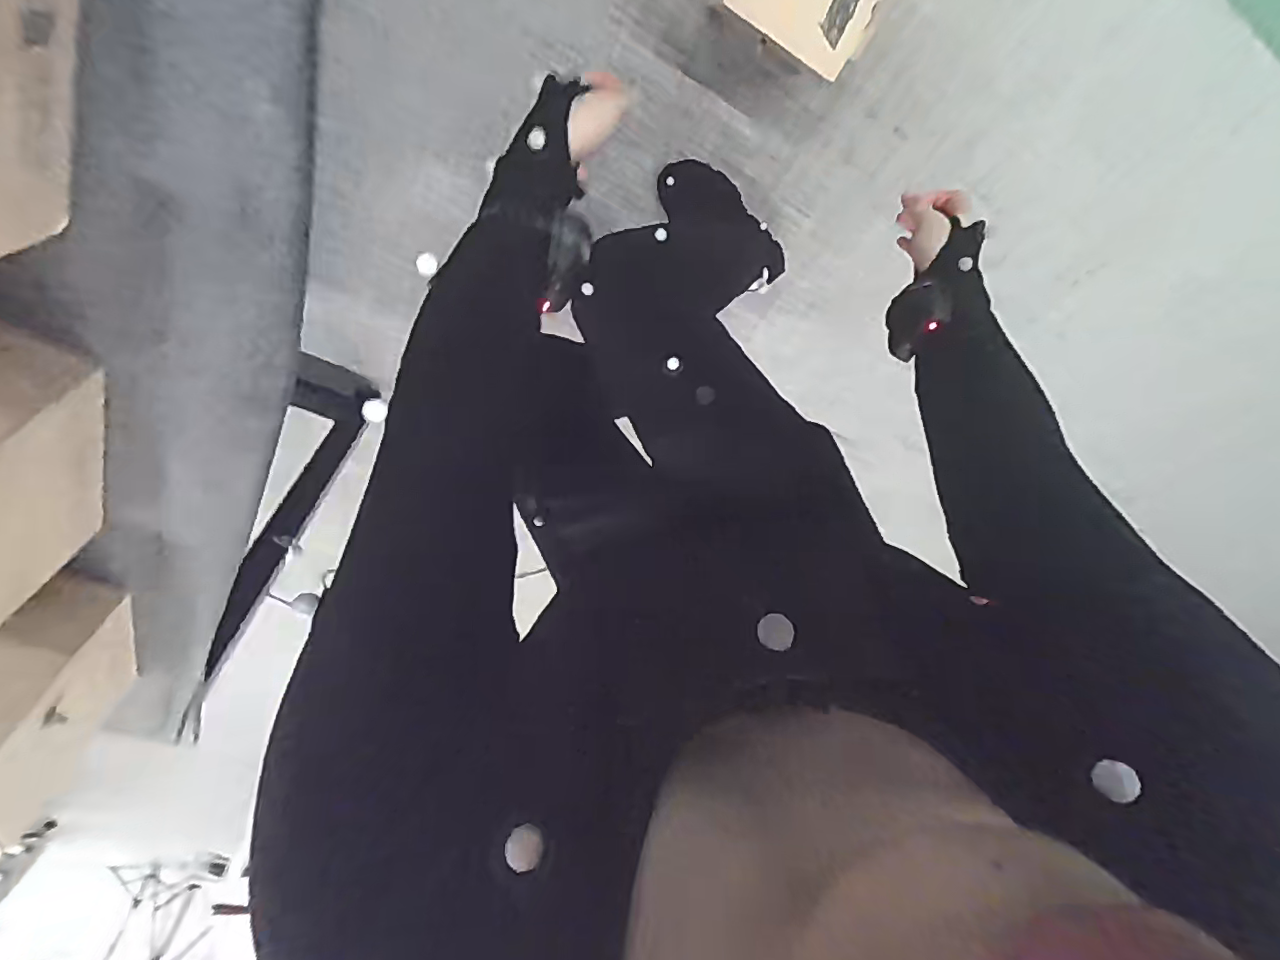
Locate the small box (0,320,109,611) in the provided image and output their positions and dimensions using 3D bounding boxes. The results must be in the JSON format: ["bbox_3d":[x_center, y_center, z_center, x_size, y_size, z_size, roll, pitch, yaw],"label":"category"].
[{"bbox_3d":[-0.439,-0.006,0.287,0.168,0.176,0.179,28,127,-21],"label":"small box"}]

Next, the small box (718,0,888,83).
[{"bbox_3d":[0.217,-0.653,0.688,0.179,0.176,0.168,22,129,-18],"label":"small box"}]
